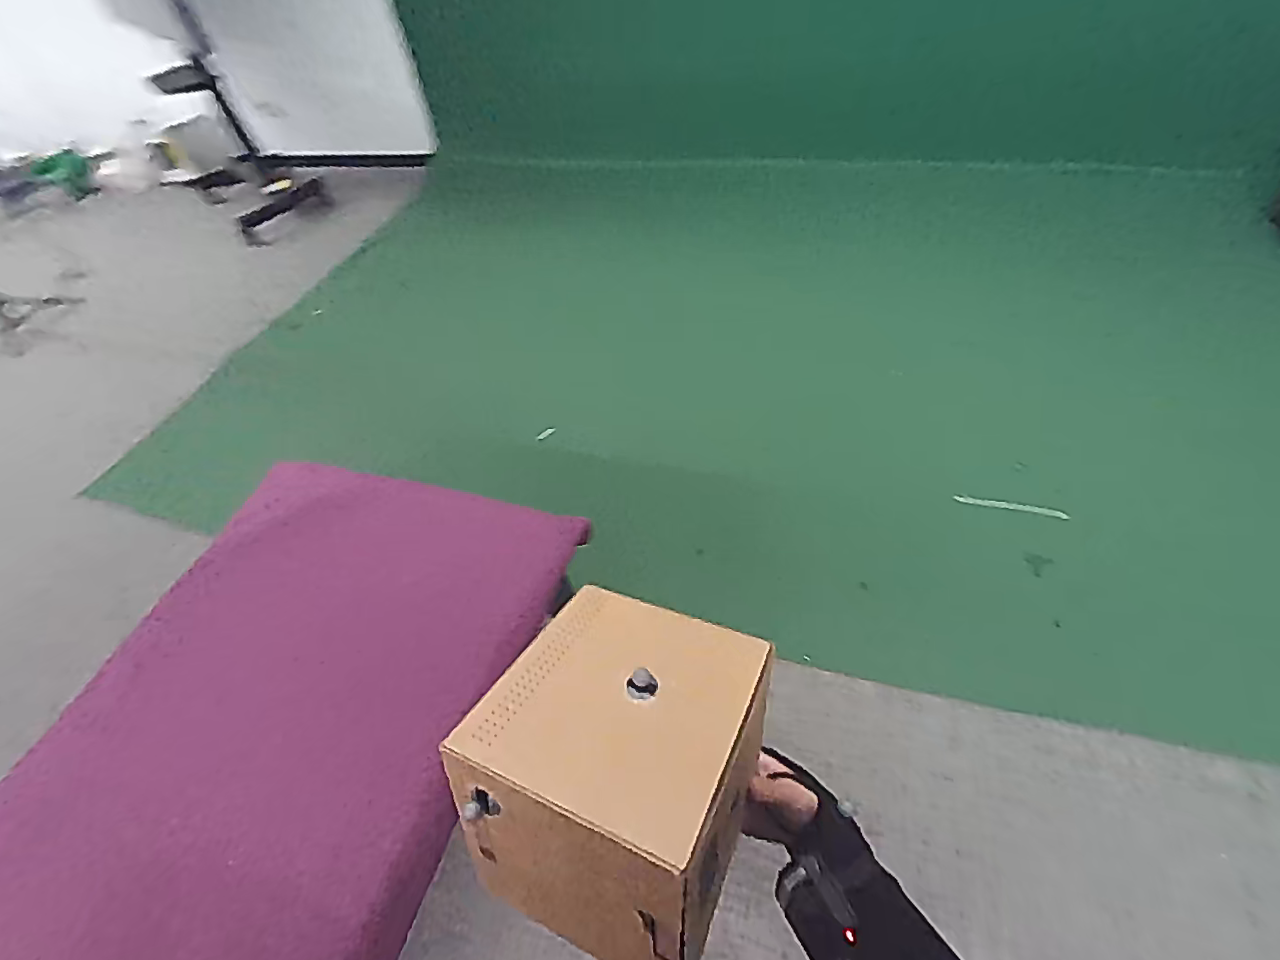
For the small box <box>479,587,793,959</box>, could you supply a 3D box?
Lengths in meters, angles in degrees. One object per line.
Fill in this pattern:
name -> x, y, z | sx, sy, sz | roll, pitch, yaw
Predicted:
small box -> 0.000, 0.208, 0.396 | 0.176, 0.168, 0.179 | 14, 32, 22
